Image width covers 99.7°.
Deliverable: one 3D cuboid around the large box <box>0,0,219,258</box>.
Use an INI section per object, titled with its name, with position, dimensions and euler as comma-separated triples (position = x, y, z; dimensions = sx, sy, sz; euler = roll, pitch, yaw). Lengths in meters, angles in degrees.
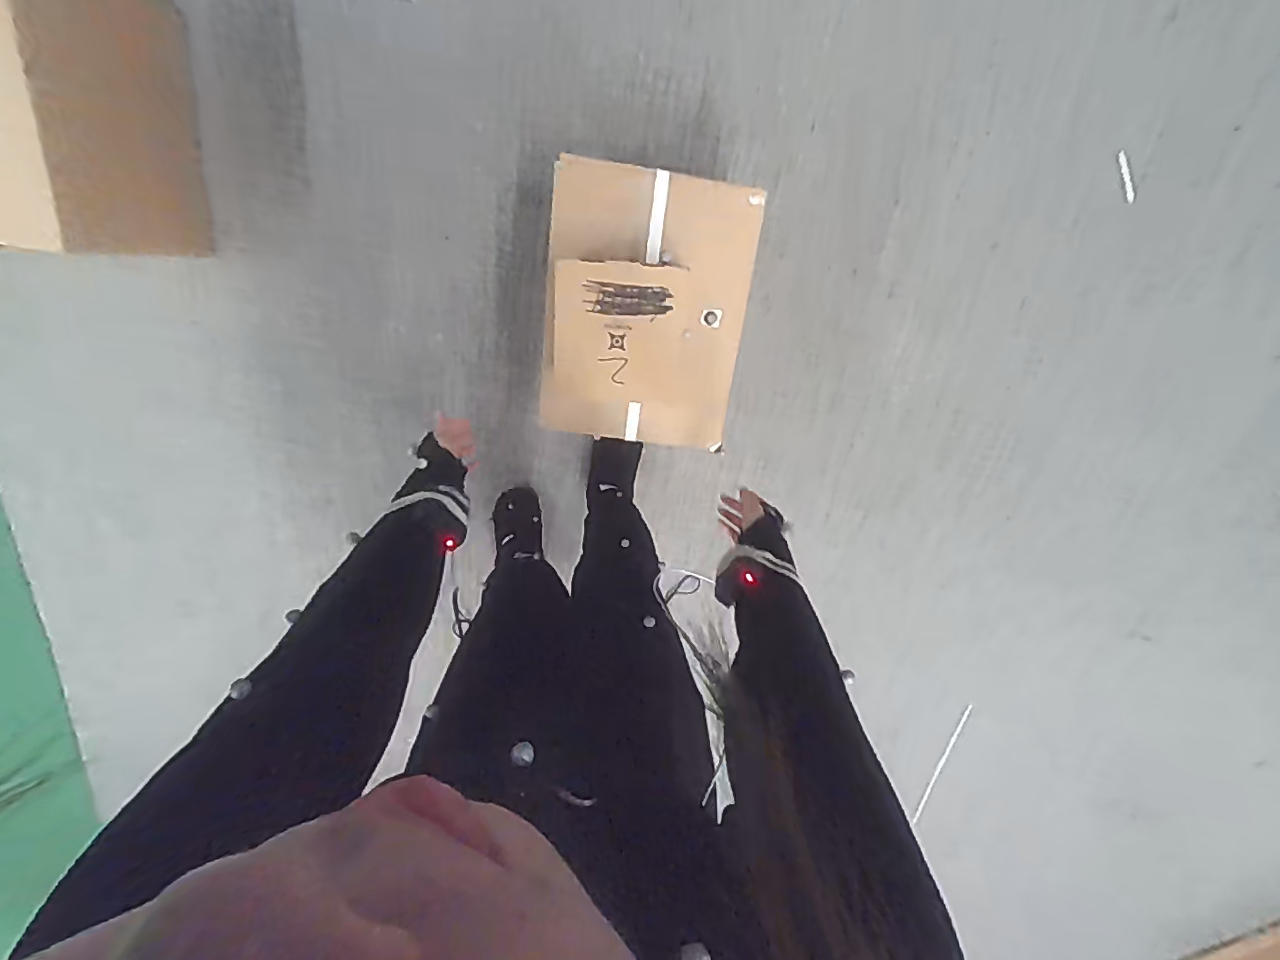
[large box]
position = -0.968, -0.596, 0.875
dimensions = 0.320, 0.320, 0.408
euler = 8, 110, -3
